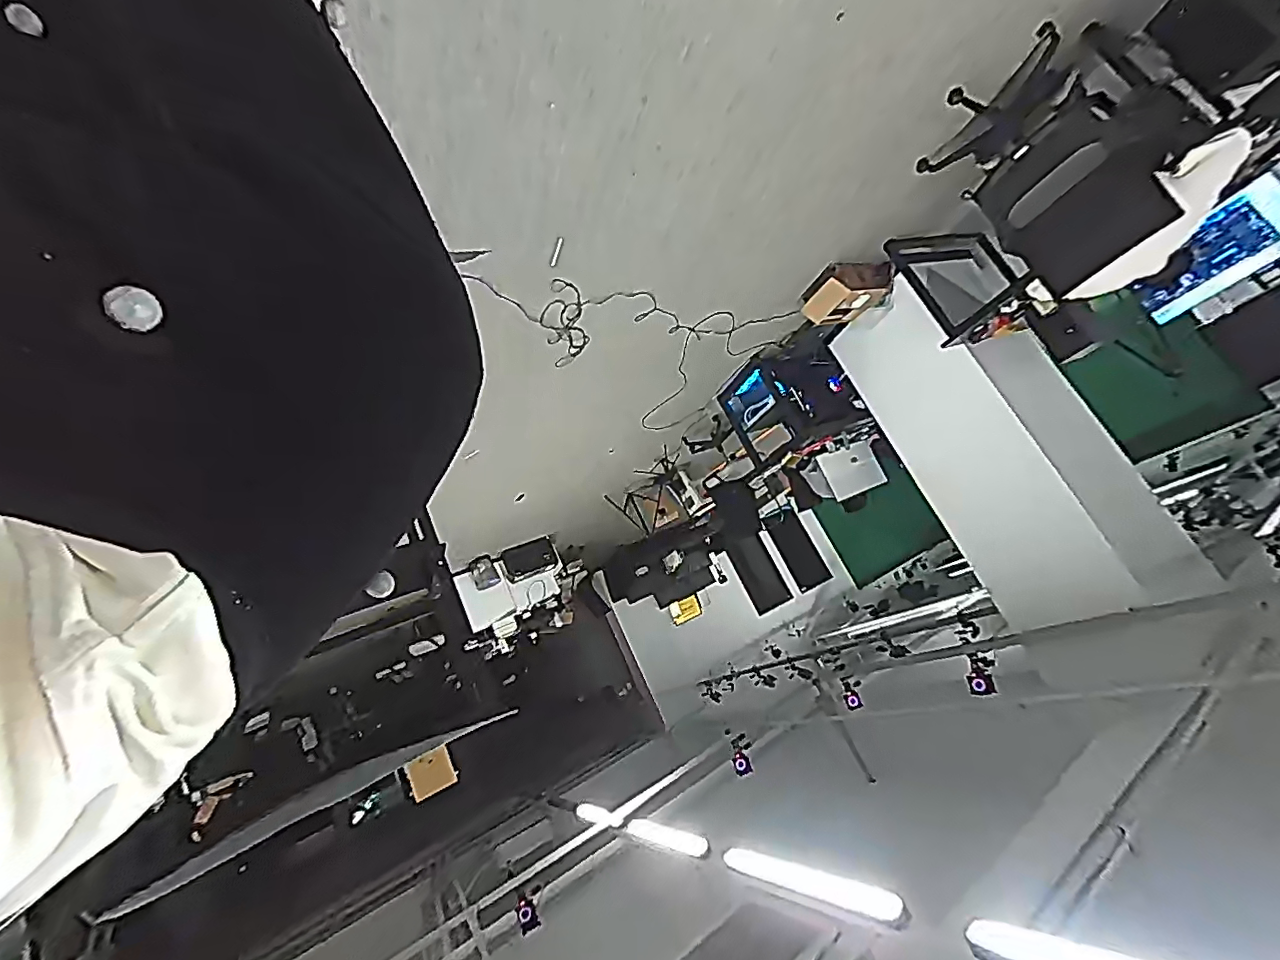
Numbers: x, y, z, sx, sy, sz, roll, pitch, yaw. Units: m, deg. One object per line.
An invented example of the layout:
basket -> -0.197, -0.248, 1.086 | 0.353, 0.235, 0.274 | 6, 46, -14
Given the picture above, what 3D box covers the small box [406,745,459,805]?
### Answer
small box -> -0.880, 1.242, 2.286 | 0.168, 0.176, 0.179 | -19, 162, -29
